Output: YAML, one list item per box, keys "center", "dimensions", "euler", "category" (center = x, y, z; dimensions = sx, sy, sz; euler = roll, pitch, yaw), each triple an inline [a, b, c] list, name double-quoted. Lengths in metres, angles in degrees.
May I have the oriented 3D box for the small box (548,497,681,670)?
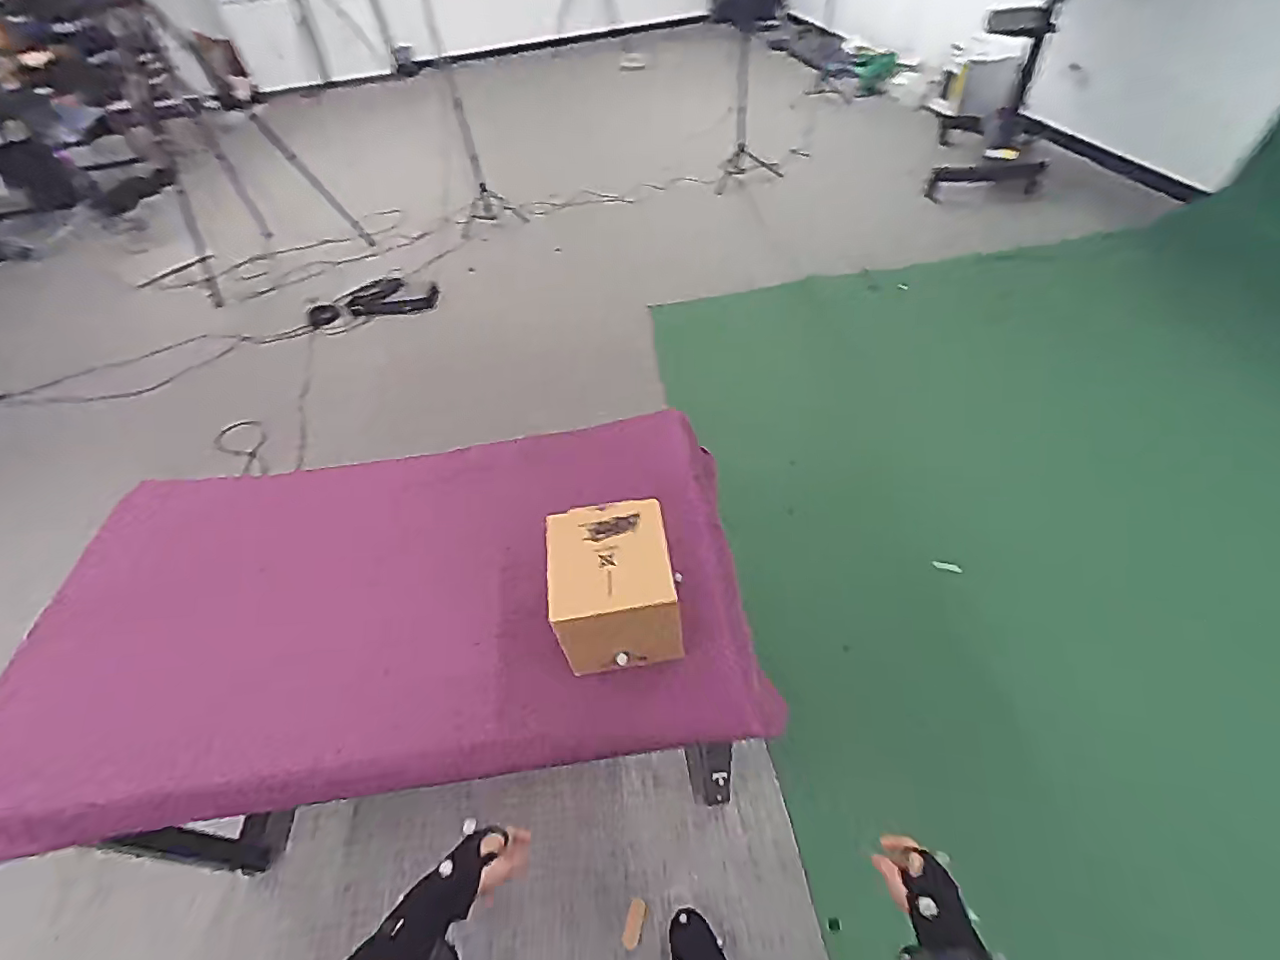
- center: [-0.036, 0.153, 0.795]
  dimensions: [0.168, 0.176, 0.179]
  euler: [-10, 47, 0]
  category: "small box"
